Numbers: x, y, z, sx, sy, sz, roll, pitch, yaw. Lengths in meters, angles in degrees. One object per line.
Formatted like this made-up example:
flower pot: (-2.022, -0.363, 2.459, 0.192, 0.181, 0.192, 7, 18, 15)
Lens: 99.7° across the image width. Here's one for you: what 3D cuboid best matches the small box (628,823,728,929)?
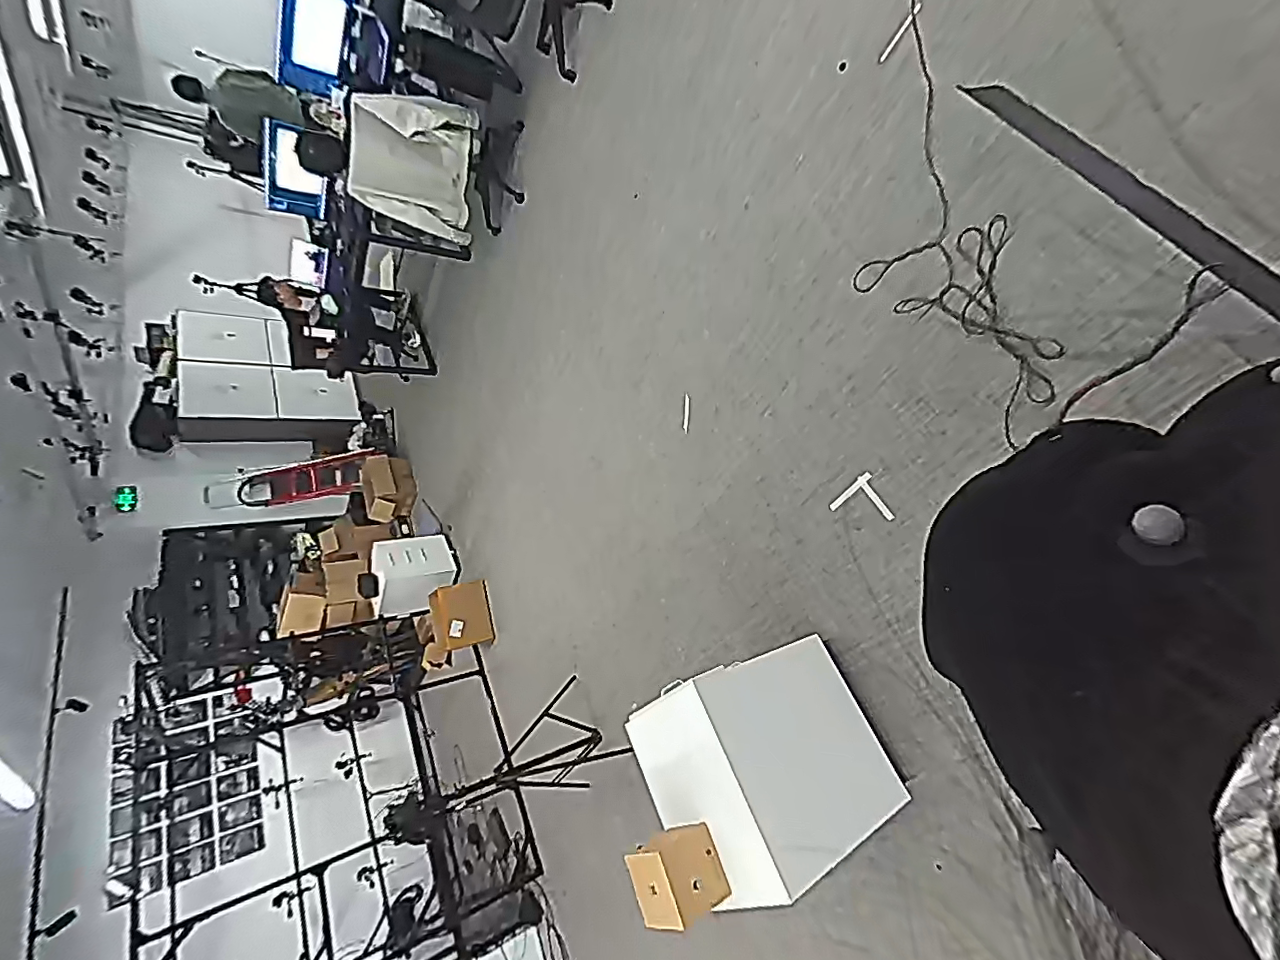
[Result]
small box: (0.102, 1.000, 1.377, 0.179, 0.176, 0.168, -47, 57, 44)
